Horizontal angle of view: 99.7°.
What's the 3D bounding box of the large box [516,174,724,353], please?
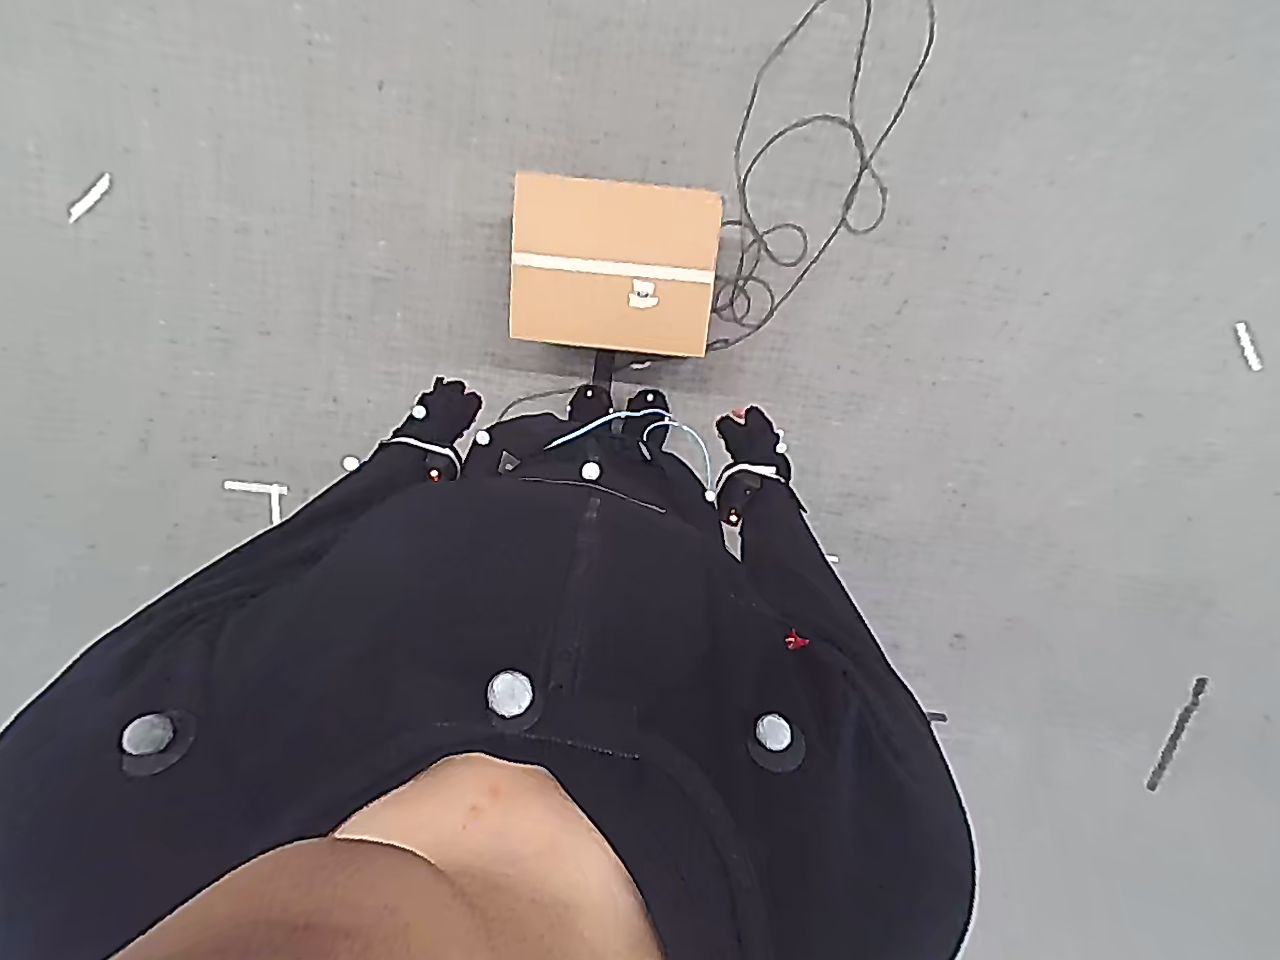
[{"bbox_3d":[-0.046,-0.461,1.225,0.408,0.320,0.320,6,105,0],"label":"large box"}]
